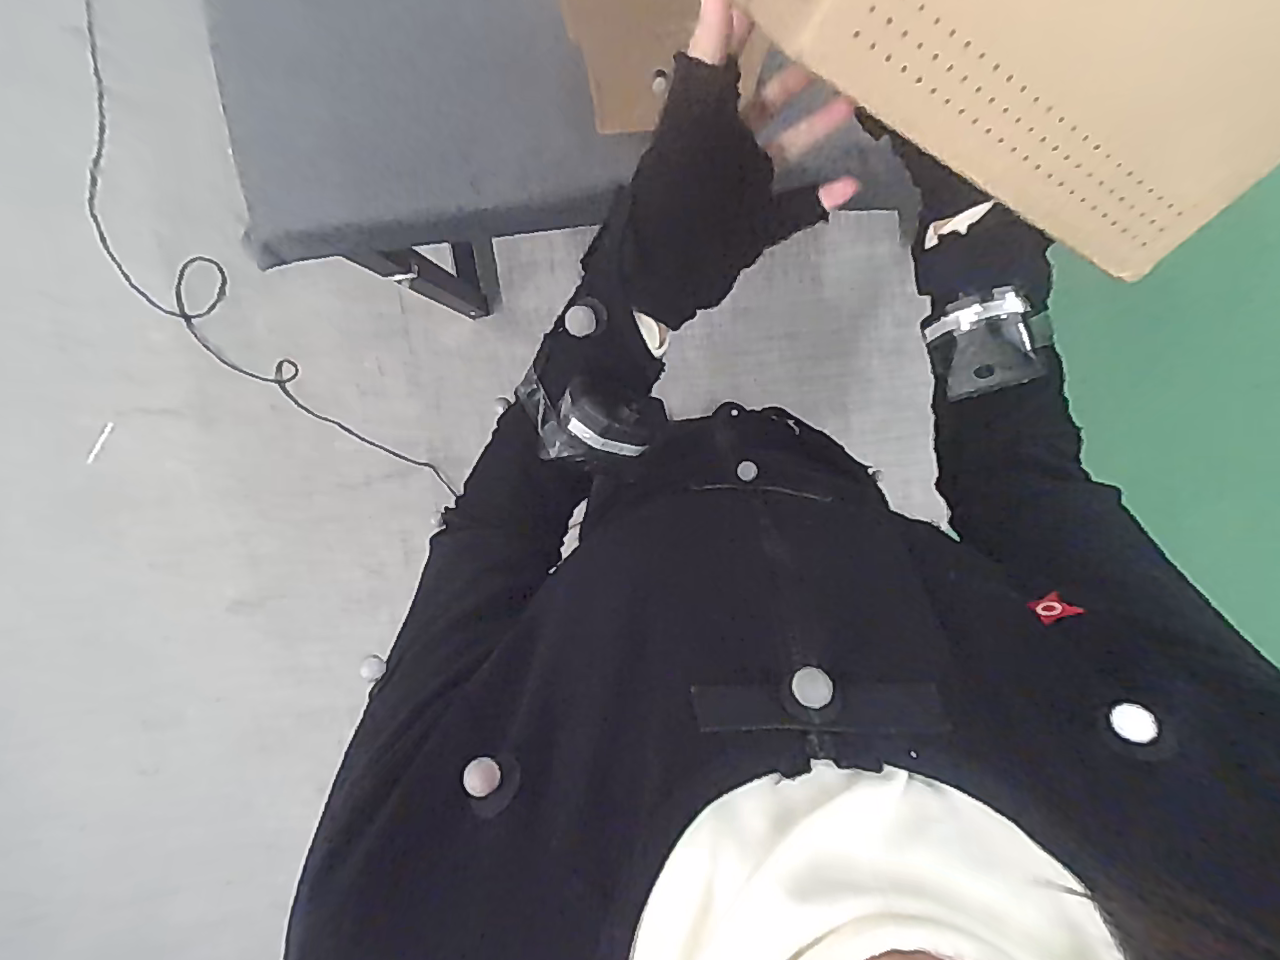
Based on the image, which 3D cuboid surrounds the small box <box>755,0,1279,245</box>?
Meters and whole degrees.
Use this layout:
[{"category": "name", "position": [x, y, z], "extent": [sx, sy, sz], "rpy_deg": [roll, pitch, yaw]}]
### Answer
[{"category": "small box", "position": [0.155, -0.221, 0.197], "extent": [0.179, 0.168, 0.176], "rpy_deg": [17, 135, -20]}]

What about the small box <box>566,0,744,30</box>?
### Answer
[{"category": "small box", "position": [0.015, -0.479, 0.393], "extent": [0.179, 0.176, 0.168], "rpy_deg": [-6, 95, 3]}]

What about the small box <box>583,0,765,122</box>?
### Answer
[{"category": "small box", "position": [0.031, -0.499, 0.554], "extent": [0.179, 0.176, 0.168], "rpy_deg": [-4, 97, 2]}]
